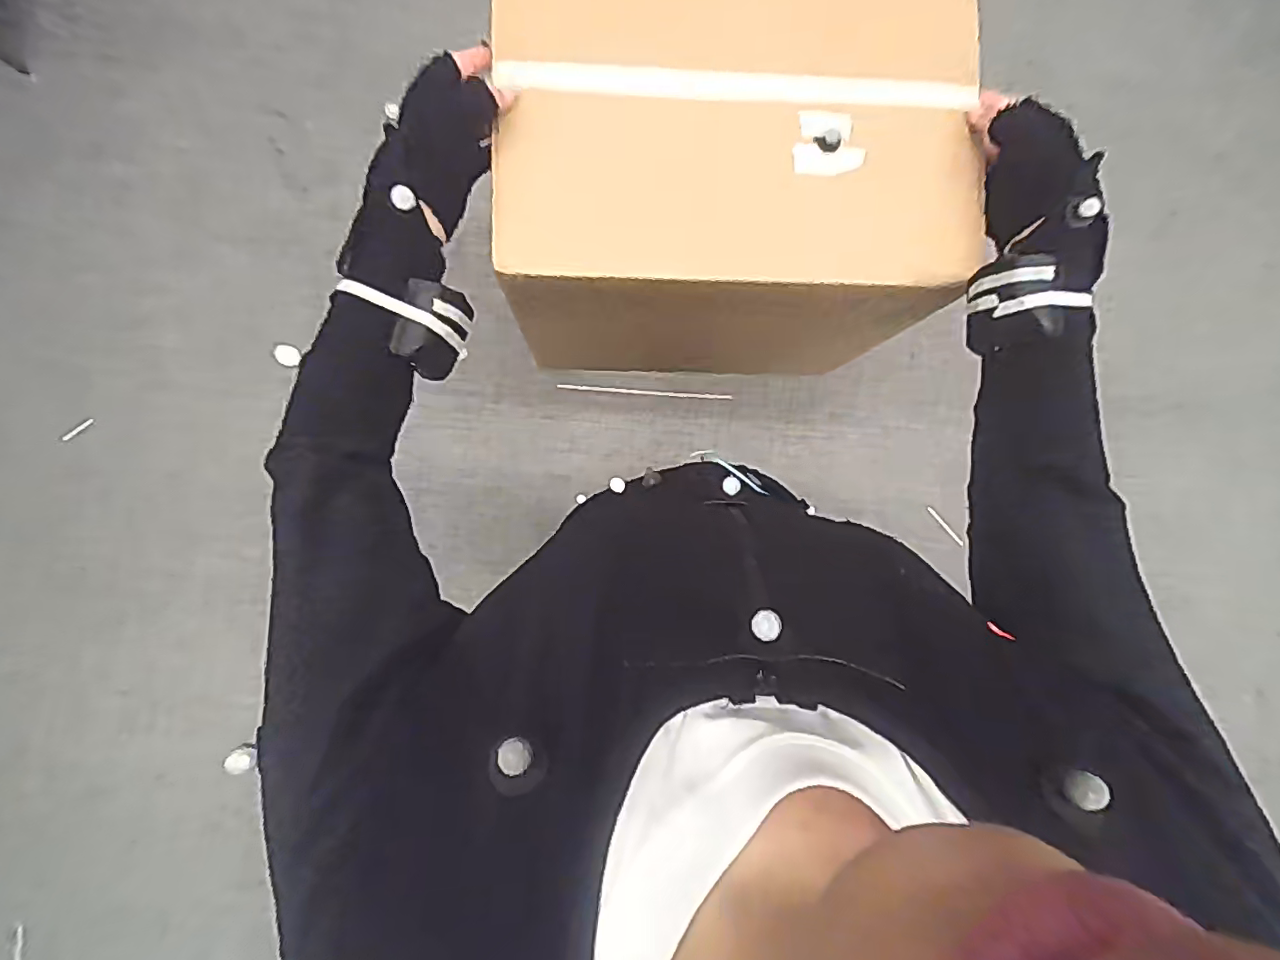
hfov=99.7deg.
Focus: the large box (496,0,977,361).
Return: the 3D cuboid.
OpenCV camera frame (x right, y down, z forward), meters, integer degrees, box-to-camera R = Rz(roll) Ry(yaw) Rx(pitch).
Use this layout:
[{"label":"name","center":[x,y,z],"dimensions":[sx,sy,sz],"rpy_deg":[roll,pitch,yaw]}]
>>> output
[{"label":"large box","center":[0.070,-0.322,0.591],"dimensions":[0.408,0.320,0.320],"rpy_deg":[0,88,-5]}]
